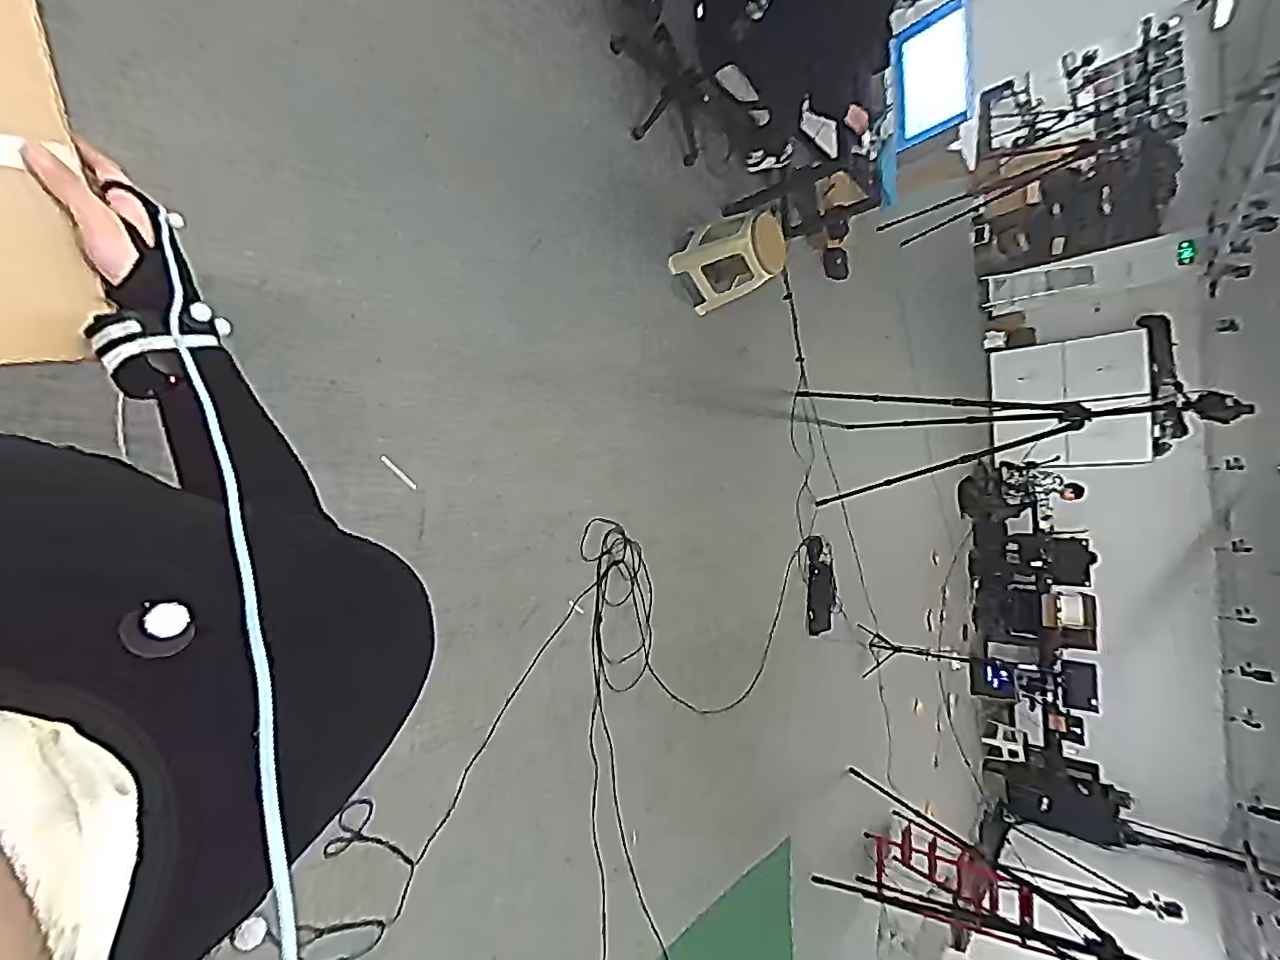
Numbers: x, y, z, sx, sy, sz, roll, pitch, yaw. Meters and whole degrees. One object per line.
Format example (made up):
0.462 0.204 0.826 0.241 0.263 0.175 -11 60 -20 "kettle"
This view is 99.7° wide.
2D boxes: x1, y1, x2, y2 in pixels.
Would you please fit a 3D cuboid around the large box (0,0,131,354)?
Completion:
-0.711 -0.244 0.404 0.408 0.320 0.320 -20 114 -45 "large box"
